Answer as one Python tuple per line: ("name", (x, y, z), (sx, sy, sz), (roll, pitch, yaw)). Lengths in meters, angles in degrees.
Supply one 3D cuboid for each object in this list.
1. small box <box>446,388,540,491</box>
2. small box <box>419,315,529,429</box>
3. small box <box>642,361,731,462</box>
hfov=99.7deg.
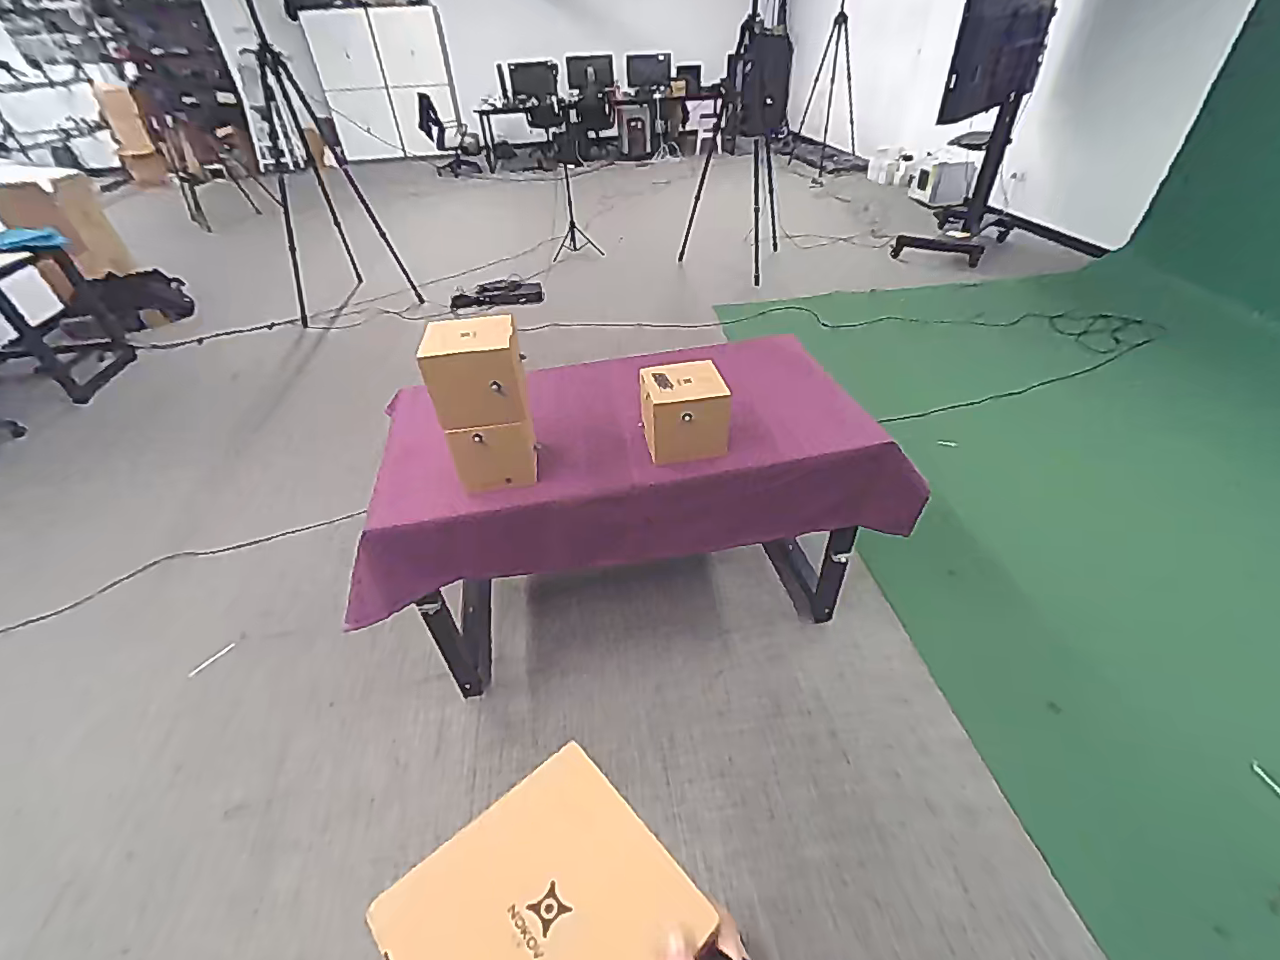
("small box", (-0.324, -0.097, 1.225), (0.168, 0.176, 0.179), (-8, 39, -5))
("small box", (-0.331, -0.223, 1.120), (0.179, 0.176, 0.168), (-7, 40, -4))
("small box", (0.106, -0.157, 1.266), (0.179, 0.176, 0.168), (-8, 40, -6))
